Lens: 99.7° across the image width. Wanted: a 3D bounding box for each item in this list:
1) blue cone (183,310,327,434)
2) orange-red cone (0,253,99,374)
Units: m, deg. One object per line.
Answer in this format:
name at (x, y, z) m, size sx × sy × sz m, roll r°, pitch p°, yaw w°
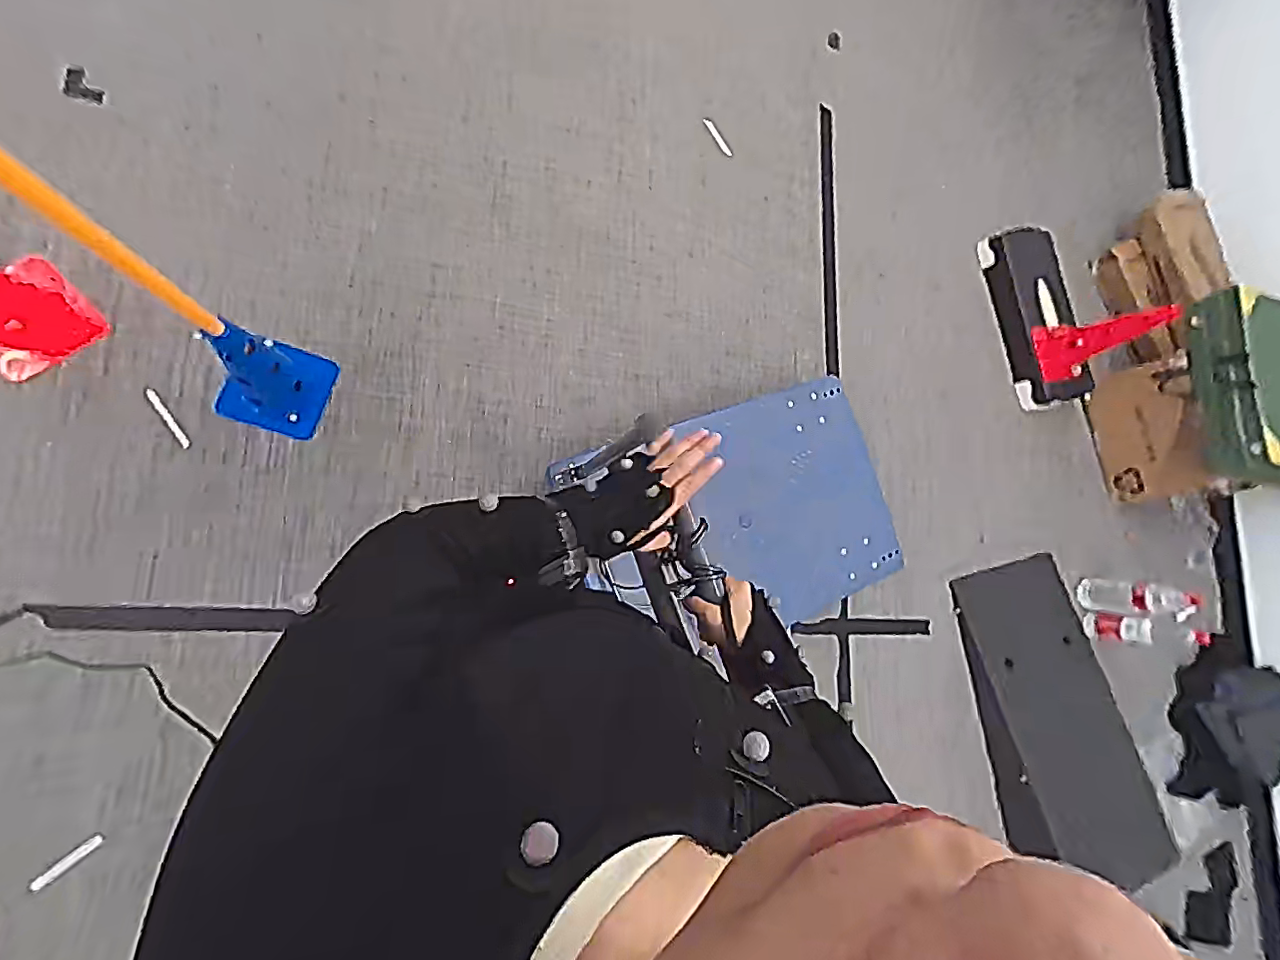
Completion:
blue cone at (-0.765, -0.230, 1.048) m, size 0.192 × 0.380 × 0.193 m, roll 21°, pitch 77°, yaw -15°
orange-red cone at (-1.169, -0.349, 0.908) m, size 0.198 × 0.360 × 0.199 m, roll -42°, pitch 98°, yaw -19°
